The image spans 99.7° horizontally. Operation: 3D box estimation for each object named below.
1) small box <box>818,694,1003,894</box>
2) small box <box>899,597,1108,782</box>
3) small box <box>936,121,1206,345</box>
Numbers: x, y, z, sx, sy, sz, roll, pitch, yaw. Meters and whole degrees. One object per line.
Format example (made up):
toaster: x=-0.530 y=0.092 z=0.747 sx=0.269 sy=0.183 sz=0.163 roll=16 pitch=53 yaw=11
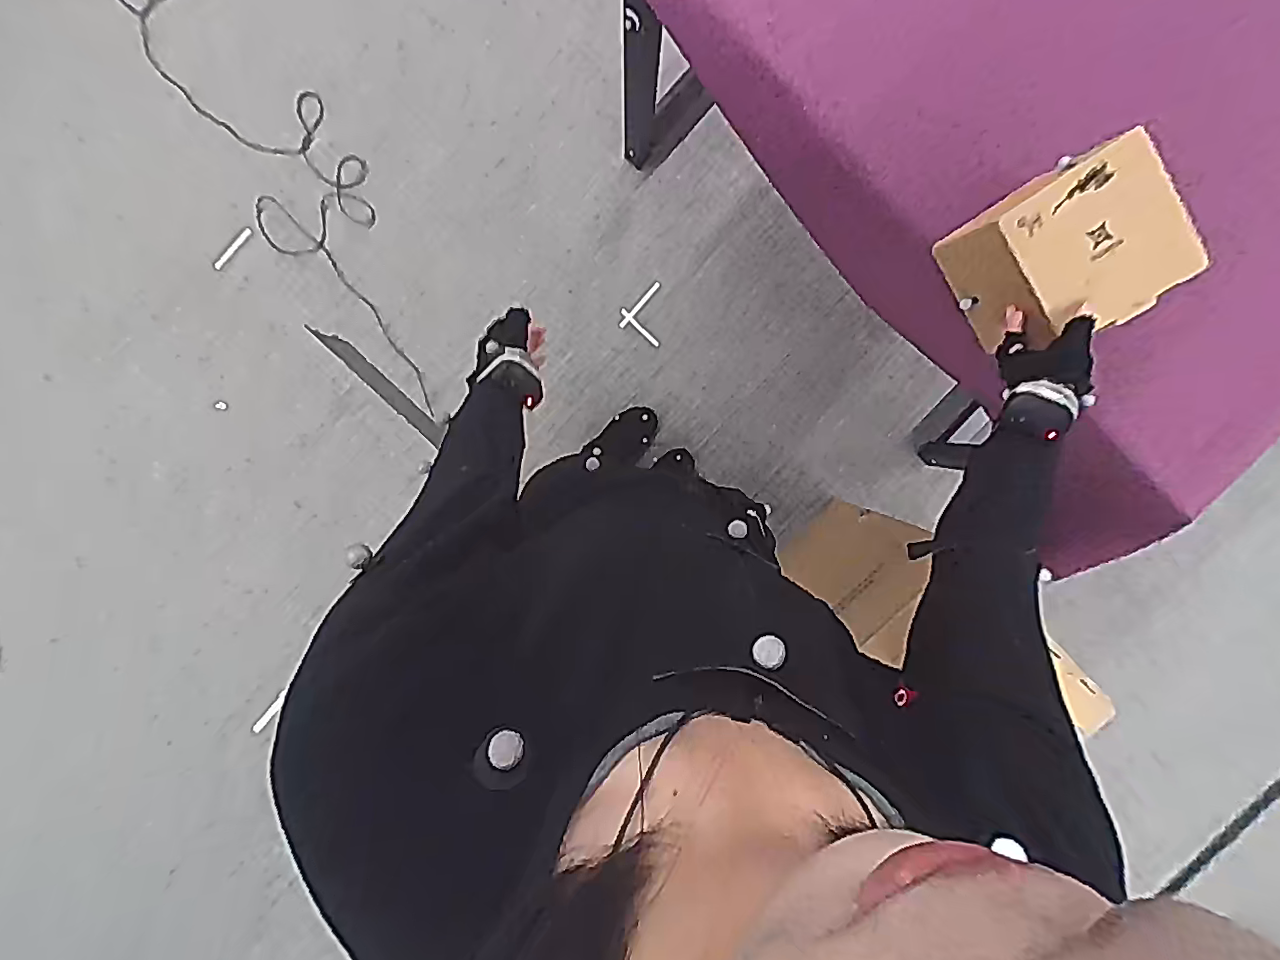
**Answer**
small box: x=0.410 y=0.486 z=0.861 sx=0.179 sy=0.176 sz=0.168 roll=-43 pitch=94 yaw=1
small box: x=0.551 y=0.313 z=0.848 sx=0.168 sy=0.176 sz=0.179 roll=44 pitch=95 yaw=-3
small box: x=0.515 y=-0.286 z=0.674 sx=0.168 sy=0.176 sz=0.179 roll=-33 pitch=98 yaw=8
